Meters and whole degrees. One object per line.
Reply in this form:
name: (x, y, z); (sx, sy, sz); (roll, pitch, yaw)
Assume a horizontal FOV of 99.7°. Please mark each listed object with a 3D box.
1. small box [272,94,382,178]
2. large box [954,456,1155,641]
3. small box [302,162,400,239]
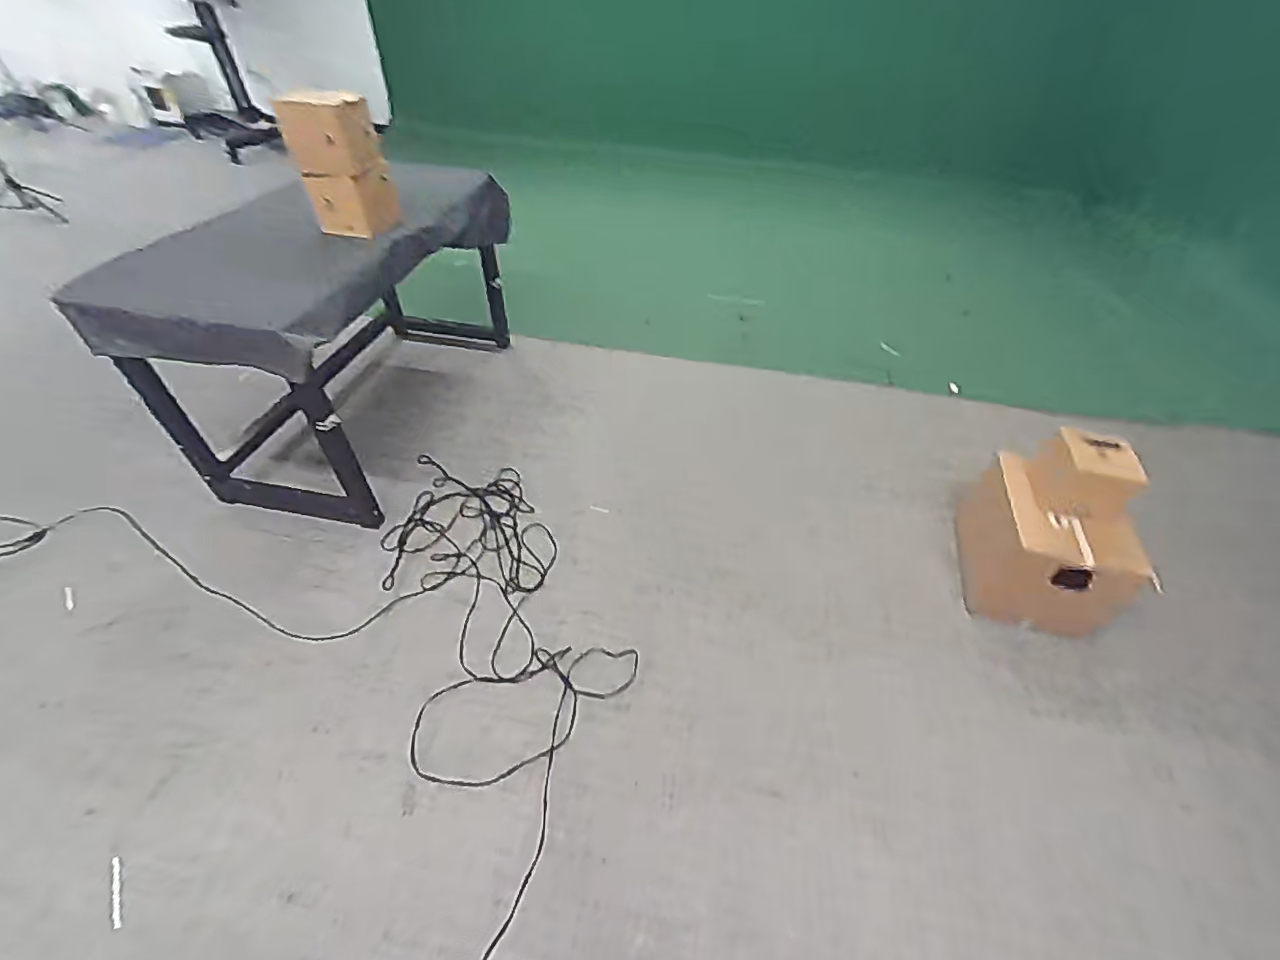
small box: (-0.843, -0.939, 1.479); (0.179, 0.176, 0.168); (5, 43, 5)
large box: (1.176, 0.196, 1.600); (0.320, 0.320, 0.408); (12, 47, 11)
small box: (-0.843, -0.830, 1.599); (0.168, 0.176, 0.179); (11, 45, 9)
